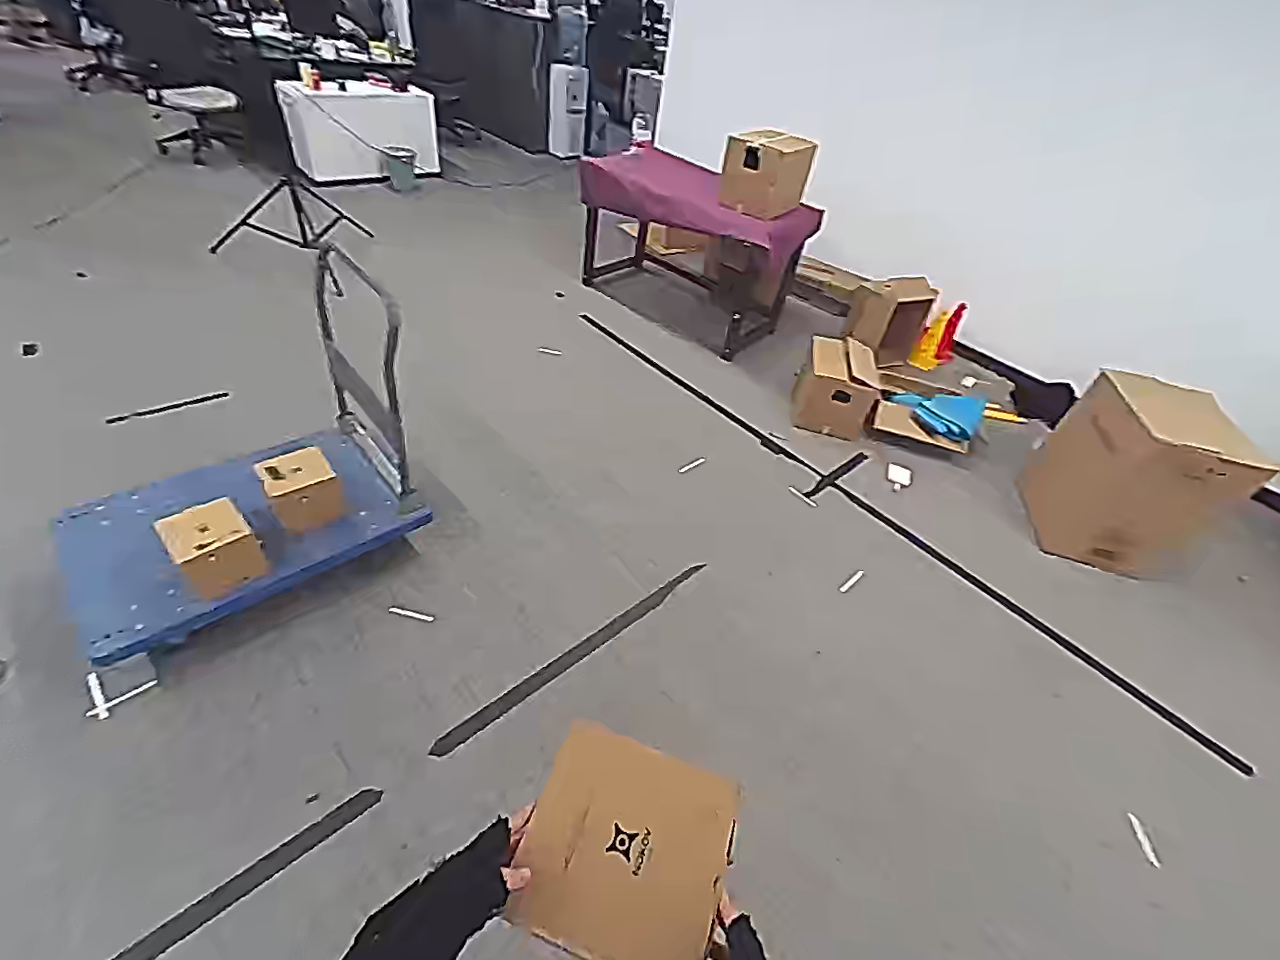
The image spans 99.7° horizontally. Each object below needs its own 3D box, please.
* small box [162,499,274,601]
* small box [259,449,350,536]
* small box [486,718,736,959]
[{"bbox_3d":[-1.126,0.189,1.451,0.179,0.176,0.168,36,48,27],"label":"small box"},{"bbox_3d":[-1.011,0.040,1.638,0.179,0.176,0.168,-25,53,-34],"label":"small box"},{"bbox_3d":[-0.022,0.369,0.529,0.179,0.176,0.168,16,47,11],"label":"small box"}]
